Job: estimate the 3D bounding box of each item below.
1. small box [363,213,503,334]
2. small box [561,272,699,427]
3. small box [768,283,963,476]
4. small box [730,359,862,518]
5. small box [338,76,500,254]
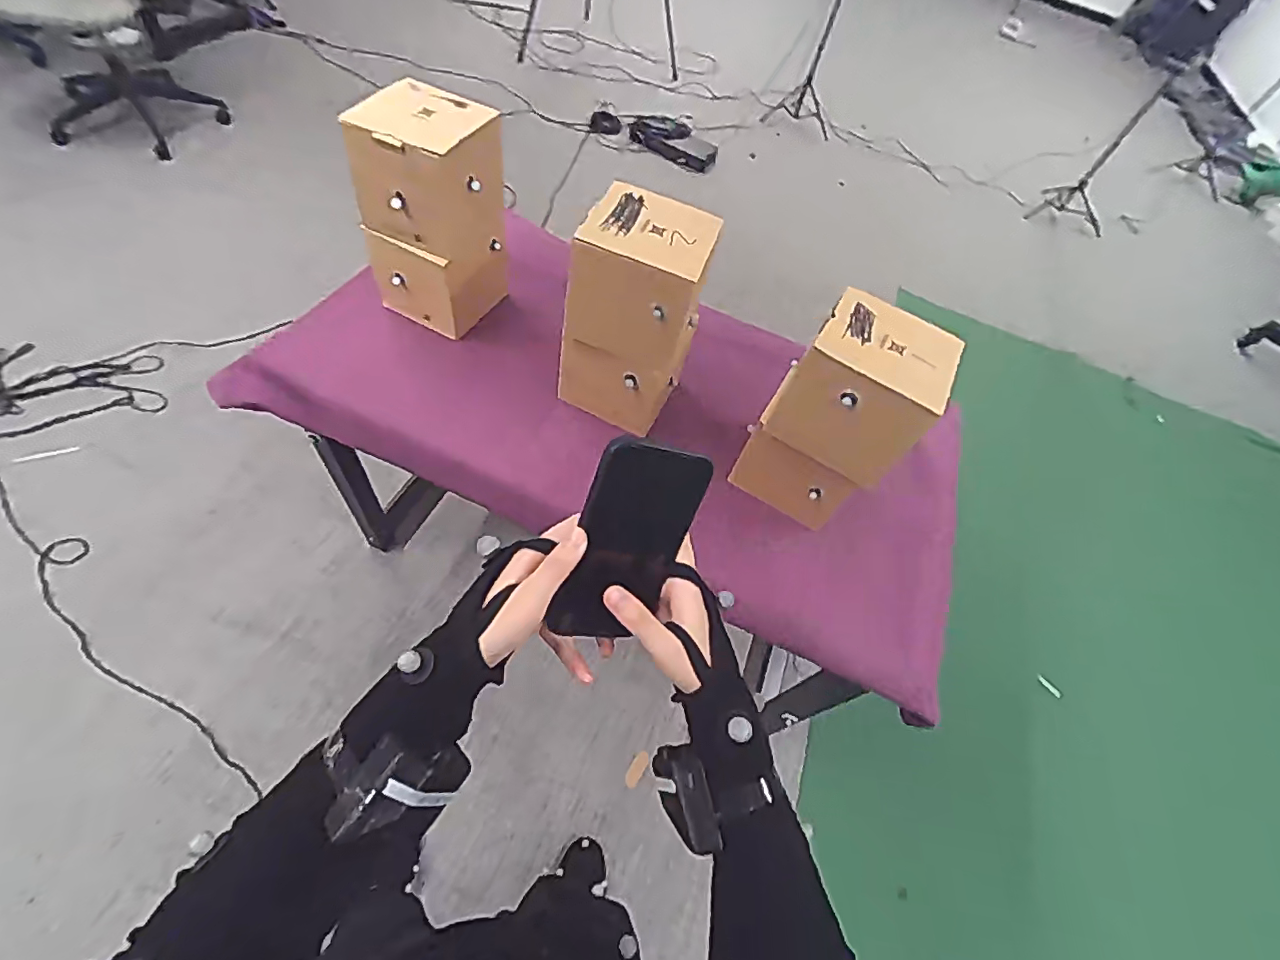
[{"bbox_3d":[-0.364,-0.402,0.995,0.168,0.176,0.179,26,56,6],"label":"small box"},{"bbox_3d":[-0.022,-0.219,0.943,0.179,0.176,0.168,26,56,6],"label":"small box"},{"bbox_3d":[0.306,-0.135,0.758,0.179,0.176,0.168,31,56,9],"label":"small box"},{"bbox_3d":[0.277,-0.061,0.903,0.179,0.176,0.168,31,56,10],"label":"small box"},{"bbox_3d":[-0.333,-0.497,0.864,0.168,0.176,0.179,22,56,3],"label":"small box"}]
